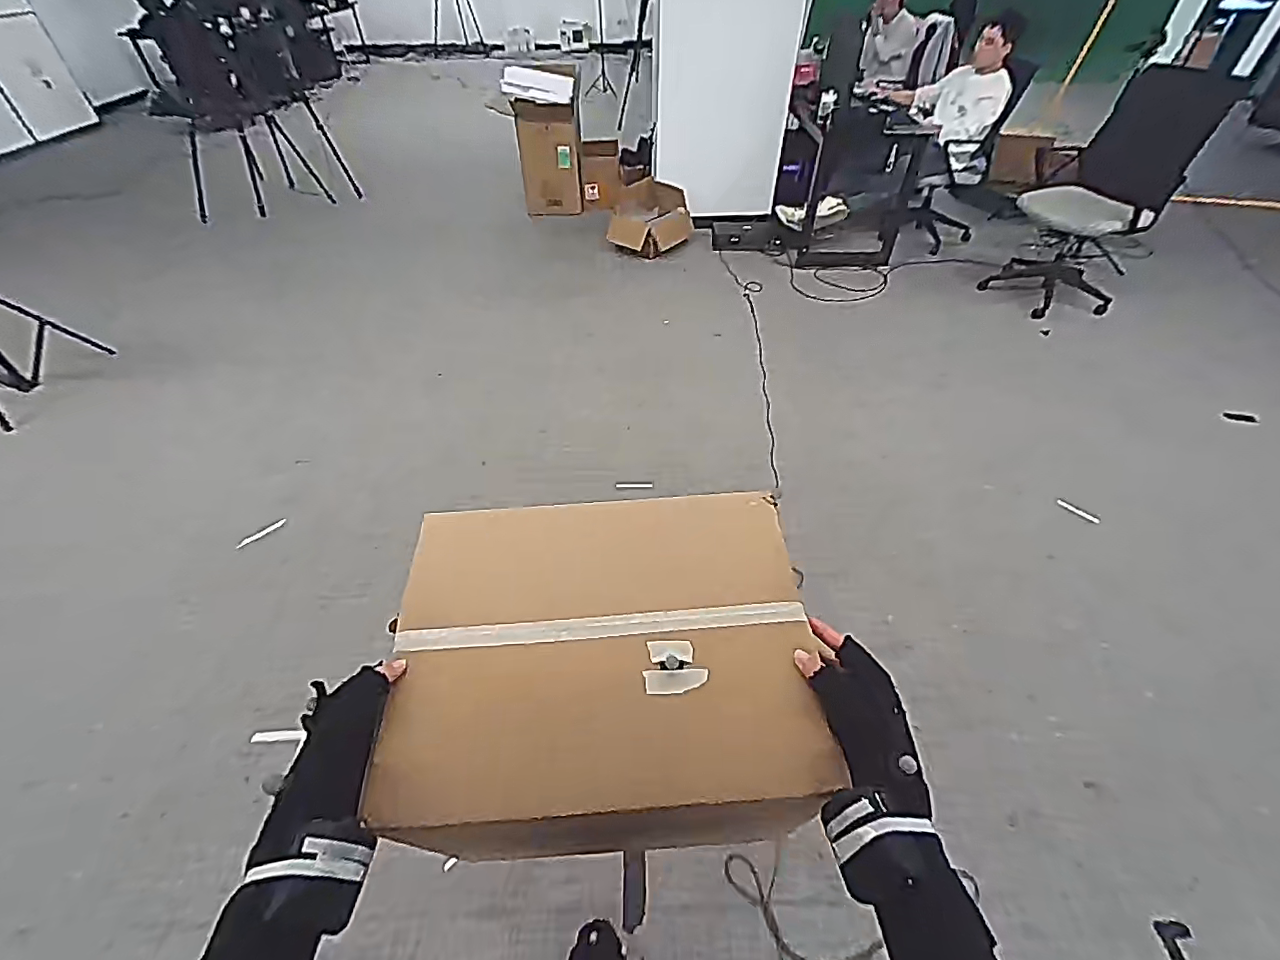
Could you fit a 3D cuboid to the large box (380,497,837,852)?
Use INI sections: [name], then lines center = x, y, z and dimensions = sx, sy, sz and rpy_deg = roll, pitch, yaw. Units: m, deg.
[large box]
center = -0.033, 0.245, 0.670
dimensions = 0.408, 0.320, 0.320
rpy_deg = -3, 52, -1
